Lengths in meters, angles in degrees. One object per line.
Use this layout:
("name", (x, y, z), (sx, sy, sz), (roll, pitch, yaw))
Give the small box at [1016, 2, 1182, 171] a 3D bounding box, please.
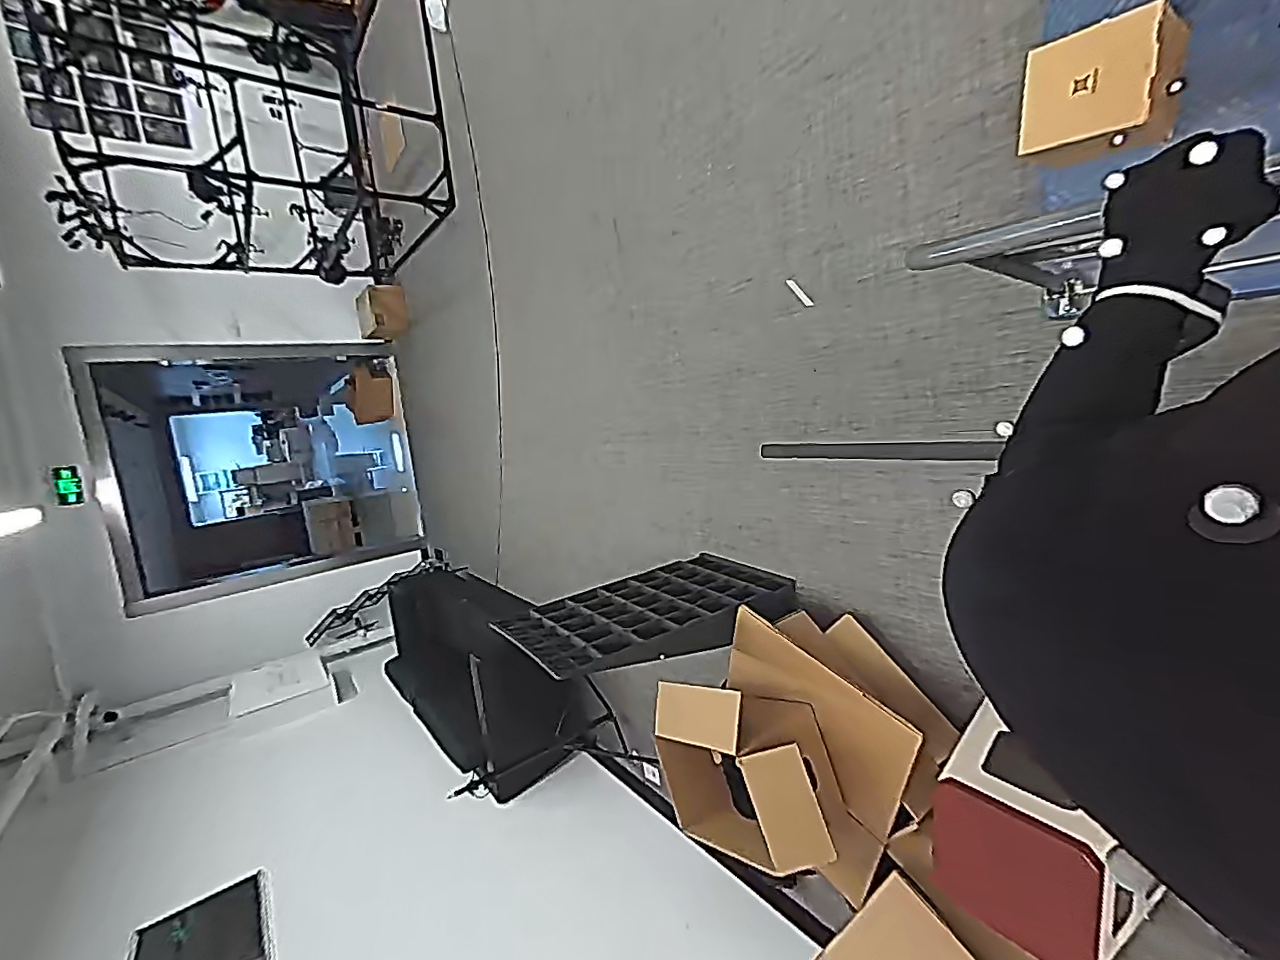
("small box", (0.786, -0.655, 0.931), (0.179, 0.176, 0.168), (13, 110, 50))
